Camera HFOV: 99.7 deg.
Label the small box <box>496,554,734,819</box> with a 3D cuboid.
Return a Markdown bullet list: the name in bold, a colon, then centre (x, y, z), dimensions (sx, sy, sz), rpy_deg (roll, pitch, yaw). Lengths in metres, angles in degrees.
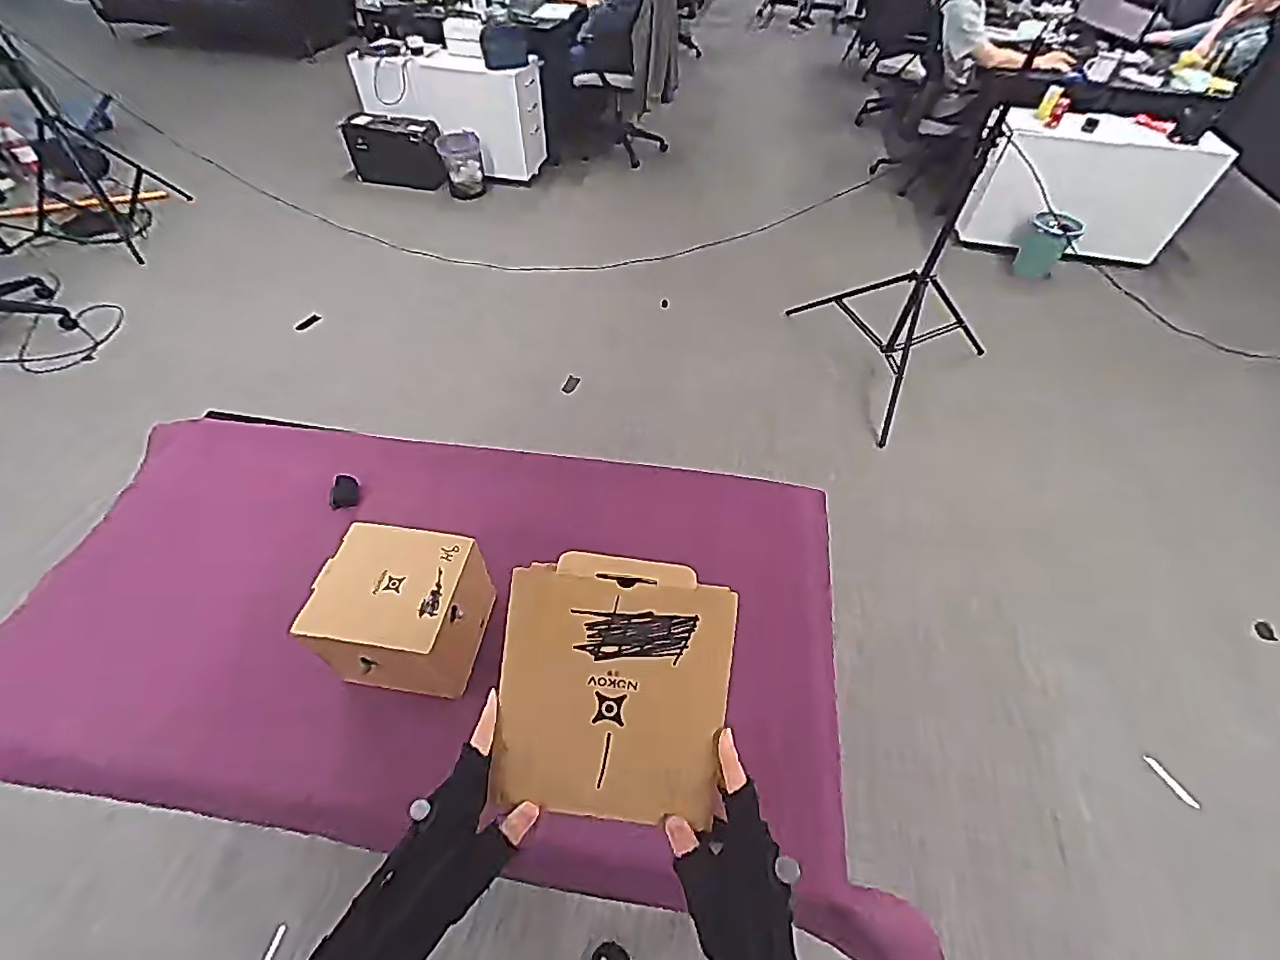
- **small box**: centre (-0.017, 0.177, 0.493), dimensions (0.168, 0.176, 0.179), rpy_deg (7, 73, 1)

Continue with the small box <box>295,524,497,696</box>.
- **small box**: centre (-0.317, 0.183, 0.749), dimensions (0.179, 0.176, 0.168), rpy_deg (7, 50, 4)
